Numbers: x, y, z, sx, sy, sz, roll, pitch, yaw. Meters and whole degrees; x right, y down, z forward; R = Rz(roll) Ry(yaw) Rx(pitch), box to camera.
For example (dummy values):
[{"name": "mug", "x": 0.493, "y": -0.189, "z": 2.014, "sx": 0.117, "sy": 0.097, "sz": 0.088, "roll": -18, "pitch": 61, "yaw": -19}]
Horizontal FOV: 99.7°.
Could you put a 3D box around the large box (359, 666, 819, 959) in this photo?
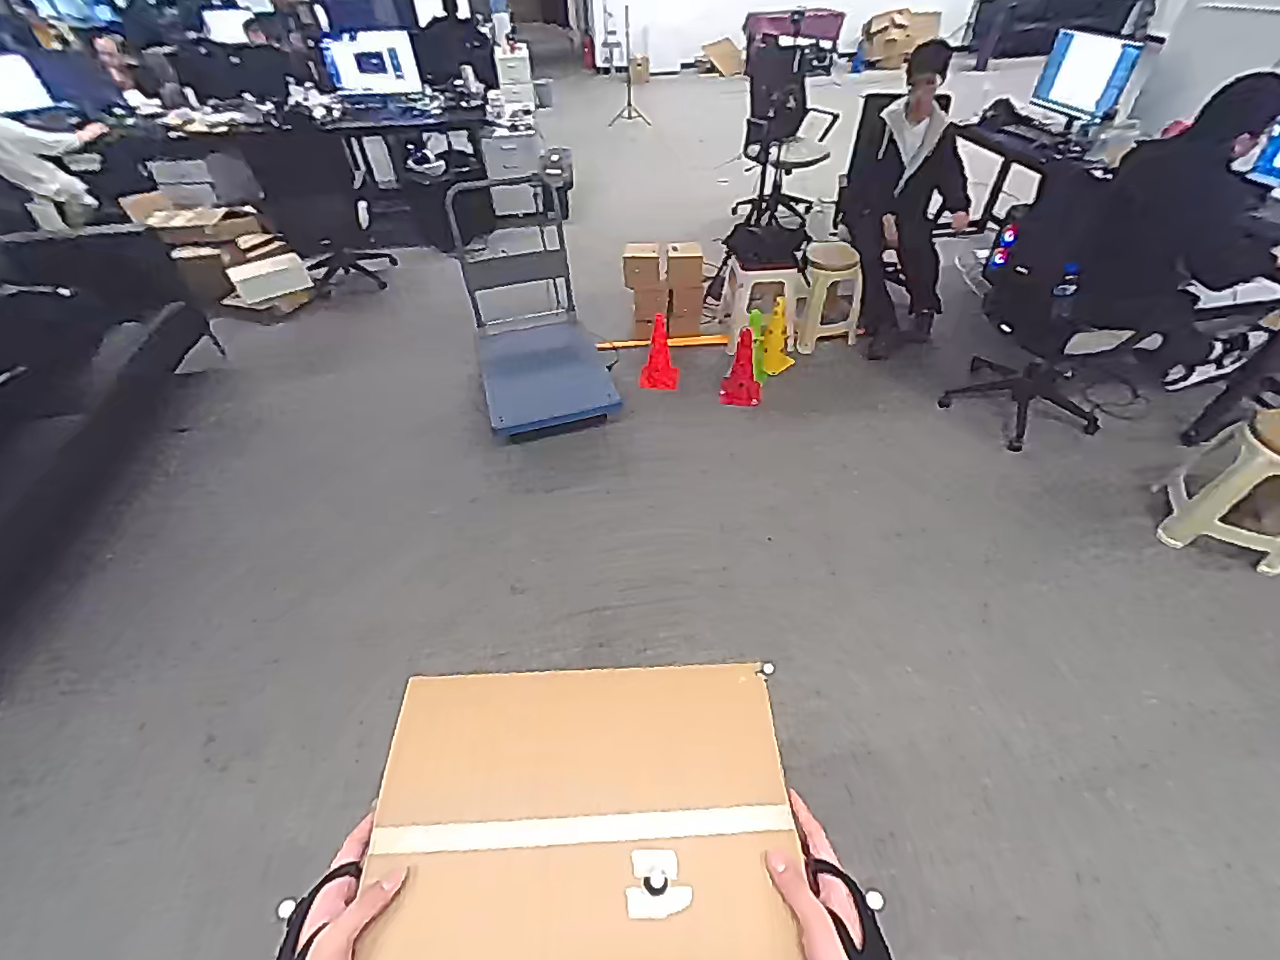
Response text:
[{"name": "large box", "x": -0.053, "y": 0.441, "z": 0.640, "sx": 0.408, "sy": 0.320, "sz": 0.320, "roll": -1, "pitch": 48, "yaw": -3}]
